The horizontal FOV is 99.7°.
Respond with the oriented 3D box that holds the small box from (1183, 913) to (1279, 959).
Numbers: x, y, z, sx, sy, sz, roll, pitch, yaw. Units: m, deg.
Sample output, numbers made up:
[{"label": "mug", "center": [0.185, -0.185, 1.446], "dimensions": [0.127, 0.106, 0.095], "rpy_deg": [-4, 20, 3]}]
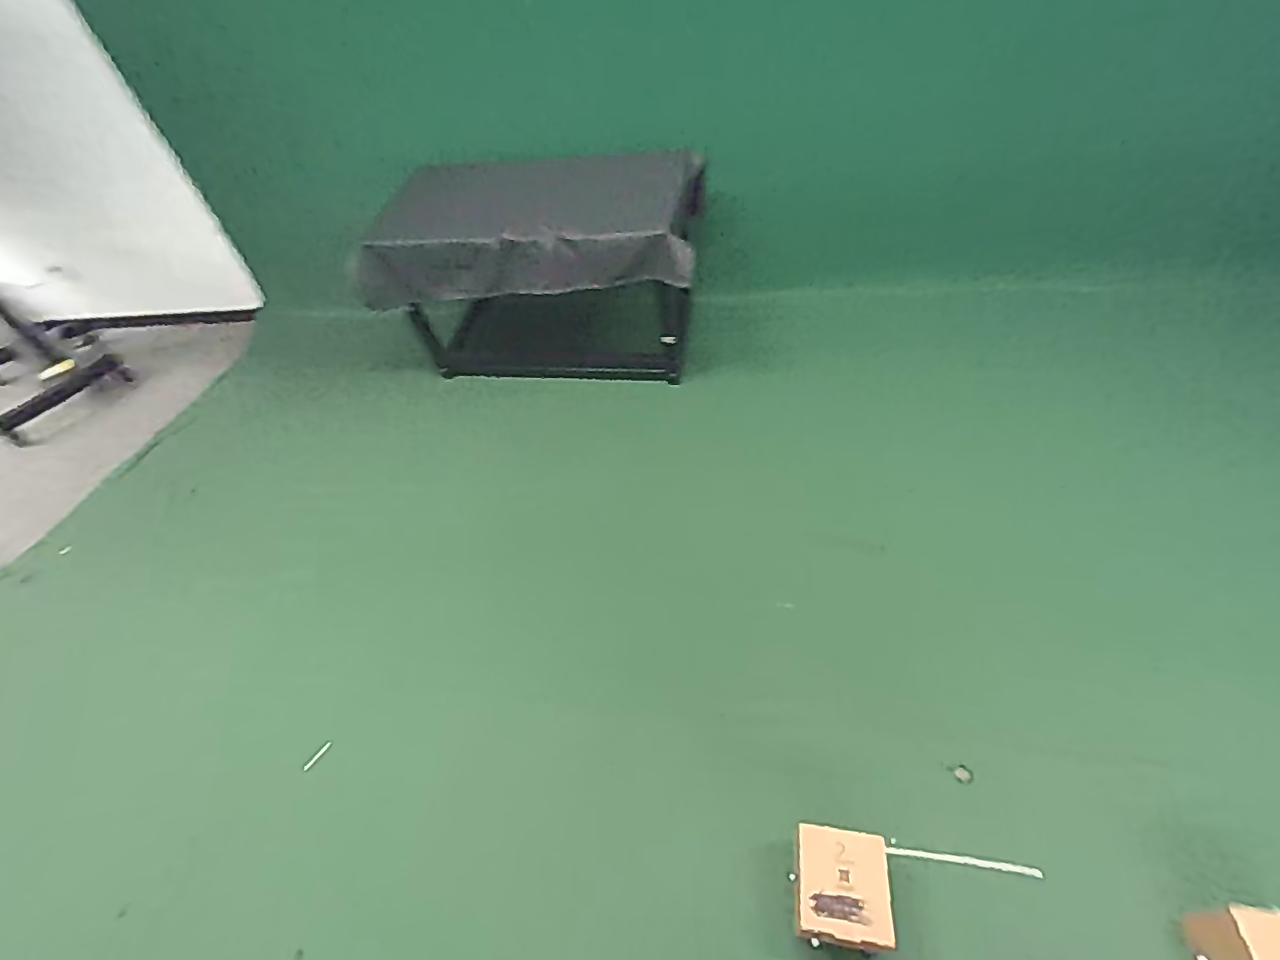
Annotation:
[{"label": "small box", "center": [1.116, 0.871, 0.929], "dimensions": [0.179, 0.176, 0.168], "rpy_deg": [2, 48, 12]}]
